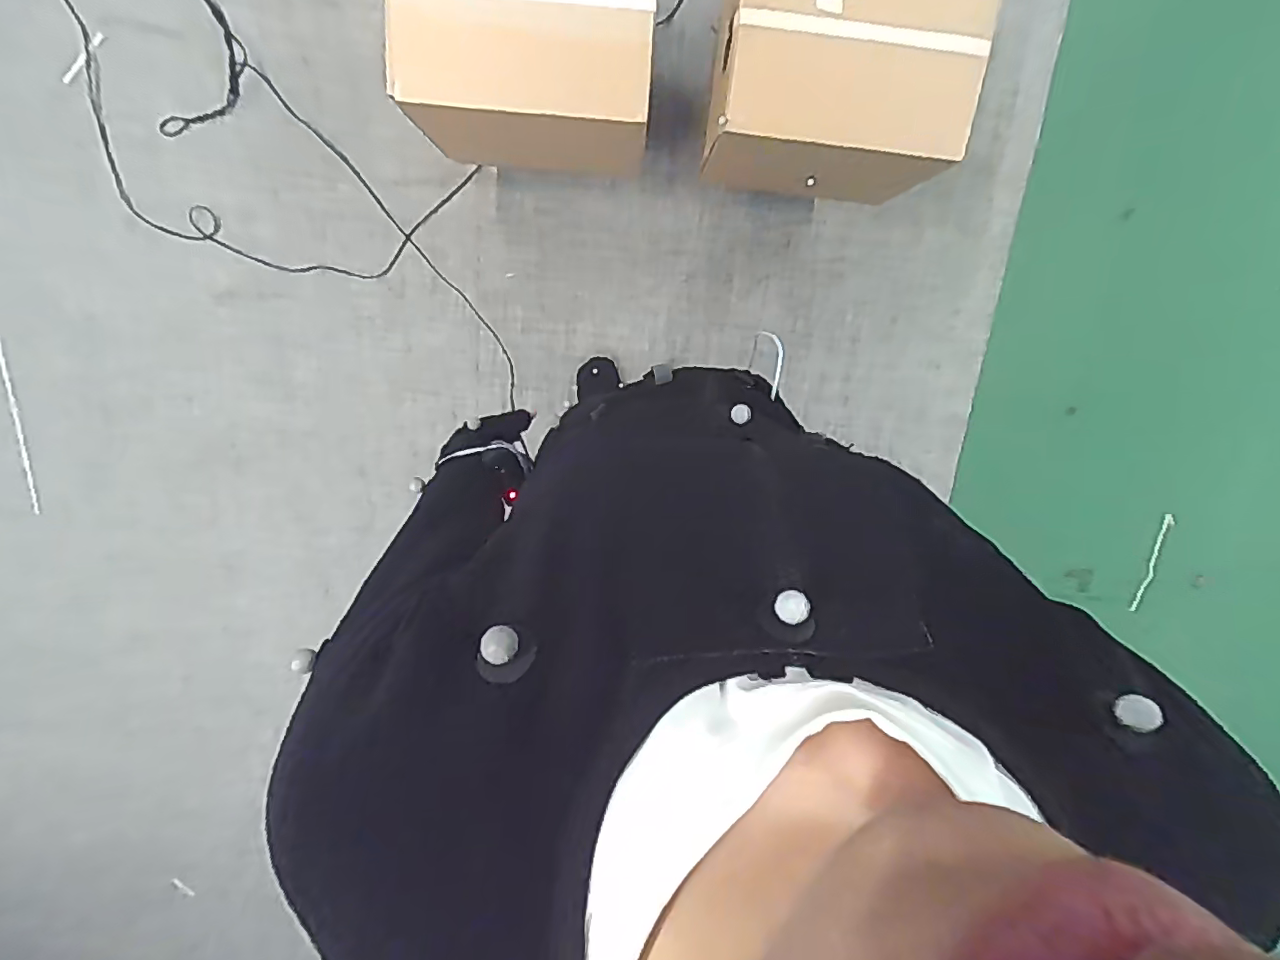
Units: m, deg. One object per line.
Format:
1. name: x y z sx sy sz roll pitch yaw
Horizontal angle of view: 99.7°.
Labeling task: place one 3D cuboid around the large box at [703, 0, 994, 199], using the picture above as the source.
1. large box: 0.351 -0.739 1.004 0.408 0.320 0.320 6 104 -2
